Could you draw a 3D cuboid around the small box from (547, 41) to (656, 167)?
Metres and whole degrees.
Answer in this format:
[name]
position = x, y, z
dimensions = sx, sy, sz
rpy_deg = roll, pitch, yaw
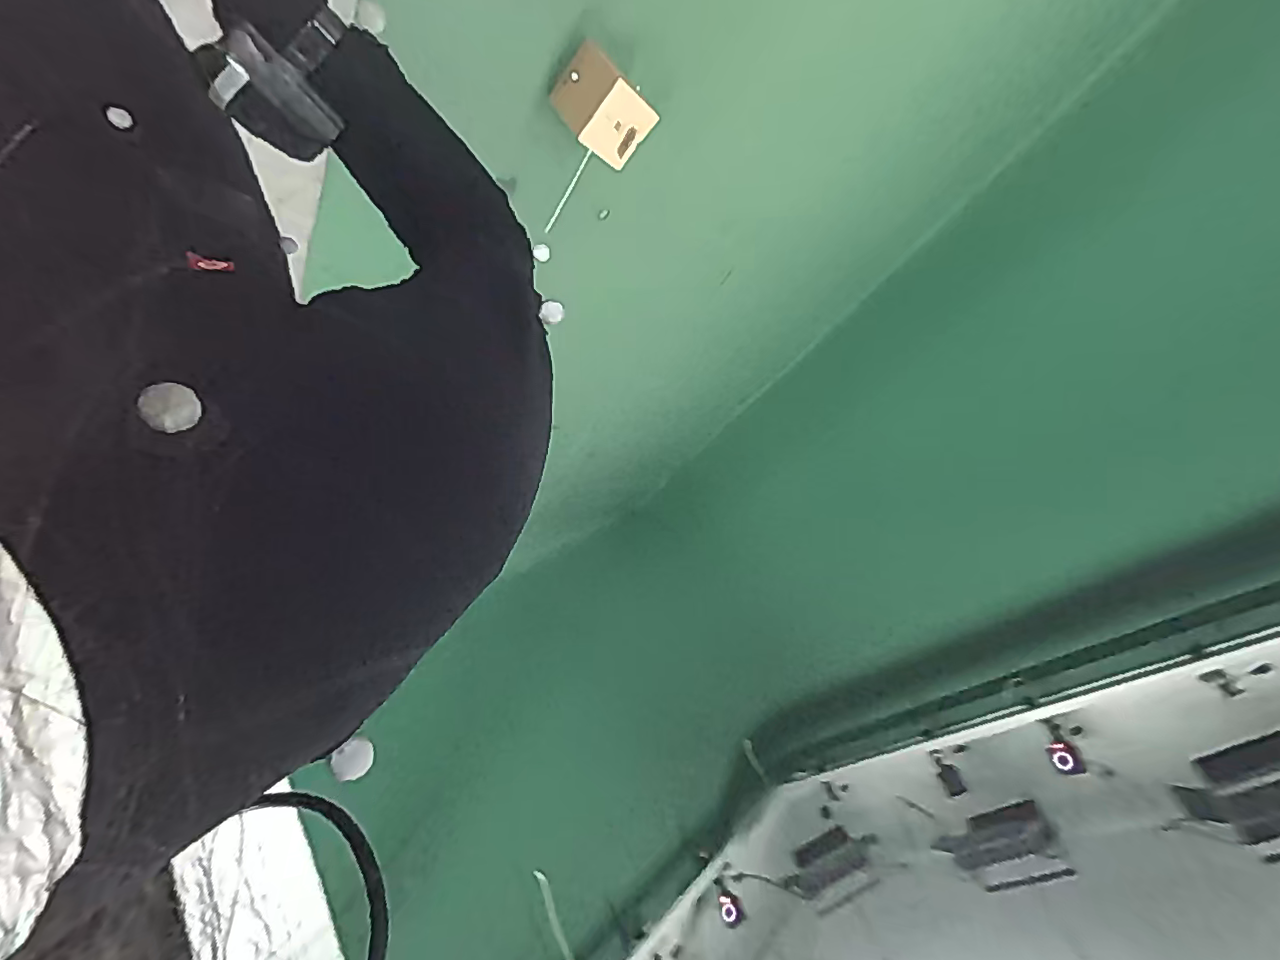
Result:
[small box]
position = -0.098, -0.949, 1.368
dimensions = 0.168, 0.176, 0.179
rpy_deg = -42, 159, 27
